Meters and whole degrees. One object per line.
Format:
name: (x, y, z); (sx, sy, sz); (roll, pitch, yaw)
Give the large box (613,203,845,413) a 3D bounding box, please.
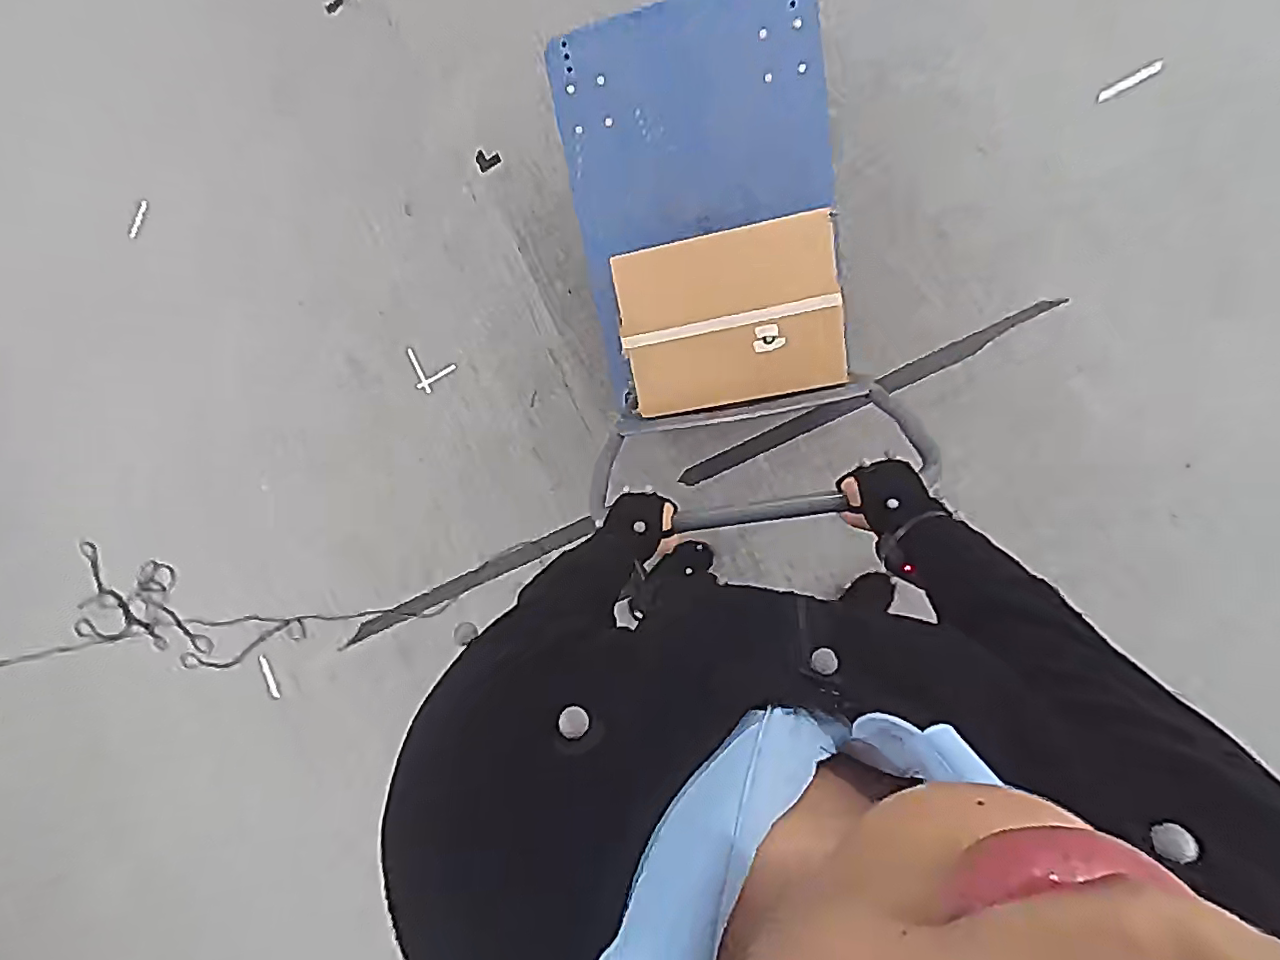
large box: (0.185, -0.358, 1.174); (0.408, 0.320, 0.320); (-10, 107, 9)
